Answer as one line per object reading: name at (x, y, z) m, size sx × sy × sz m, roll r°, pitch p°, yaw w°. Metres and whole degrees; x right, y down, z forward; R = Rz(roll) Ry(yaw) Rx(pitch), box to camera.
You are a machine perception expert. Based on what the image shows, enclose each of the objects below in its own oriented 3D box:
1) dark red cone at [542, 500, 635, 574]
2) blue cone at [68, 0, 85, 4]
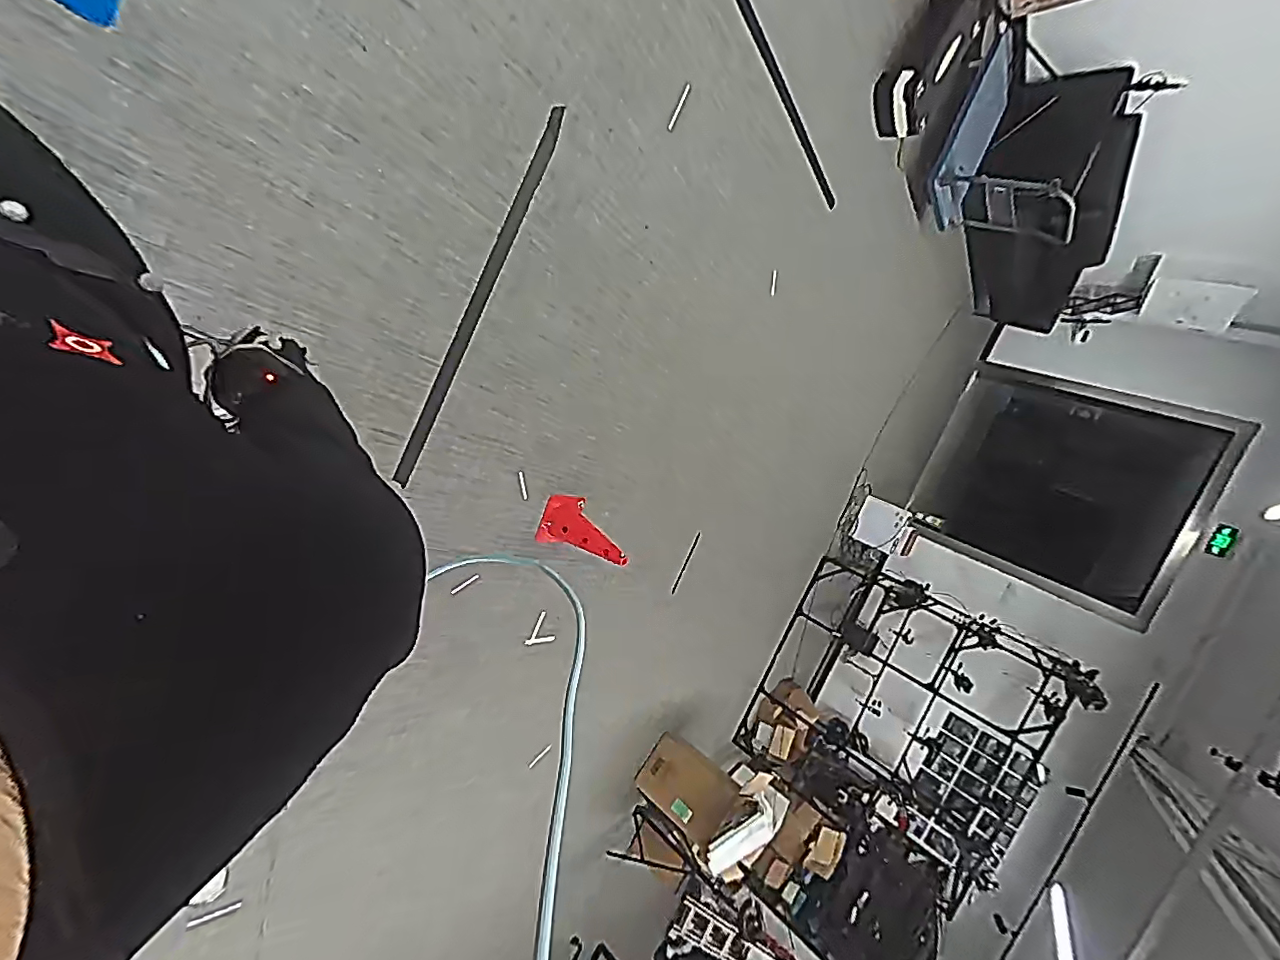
dark red cone at (-0.167, 0.233, 1.991) m, size 0.201 × 0.394 × 0.202 m, roll 6°, pitch 107°, yaw -52°
blue cone at (-0.745, -0.755, 0.653) m, size 0.192 × 0.380 × 0.193 m, roll 20°, pitch 96°, yaw -54°
